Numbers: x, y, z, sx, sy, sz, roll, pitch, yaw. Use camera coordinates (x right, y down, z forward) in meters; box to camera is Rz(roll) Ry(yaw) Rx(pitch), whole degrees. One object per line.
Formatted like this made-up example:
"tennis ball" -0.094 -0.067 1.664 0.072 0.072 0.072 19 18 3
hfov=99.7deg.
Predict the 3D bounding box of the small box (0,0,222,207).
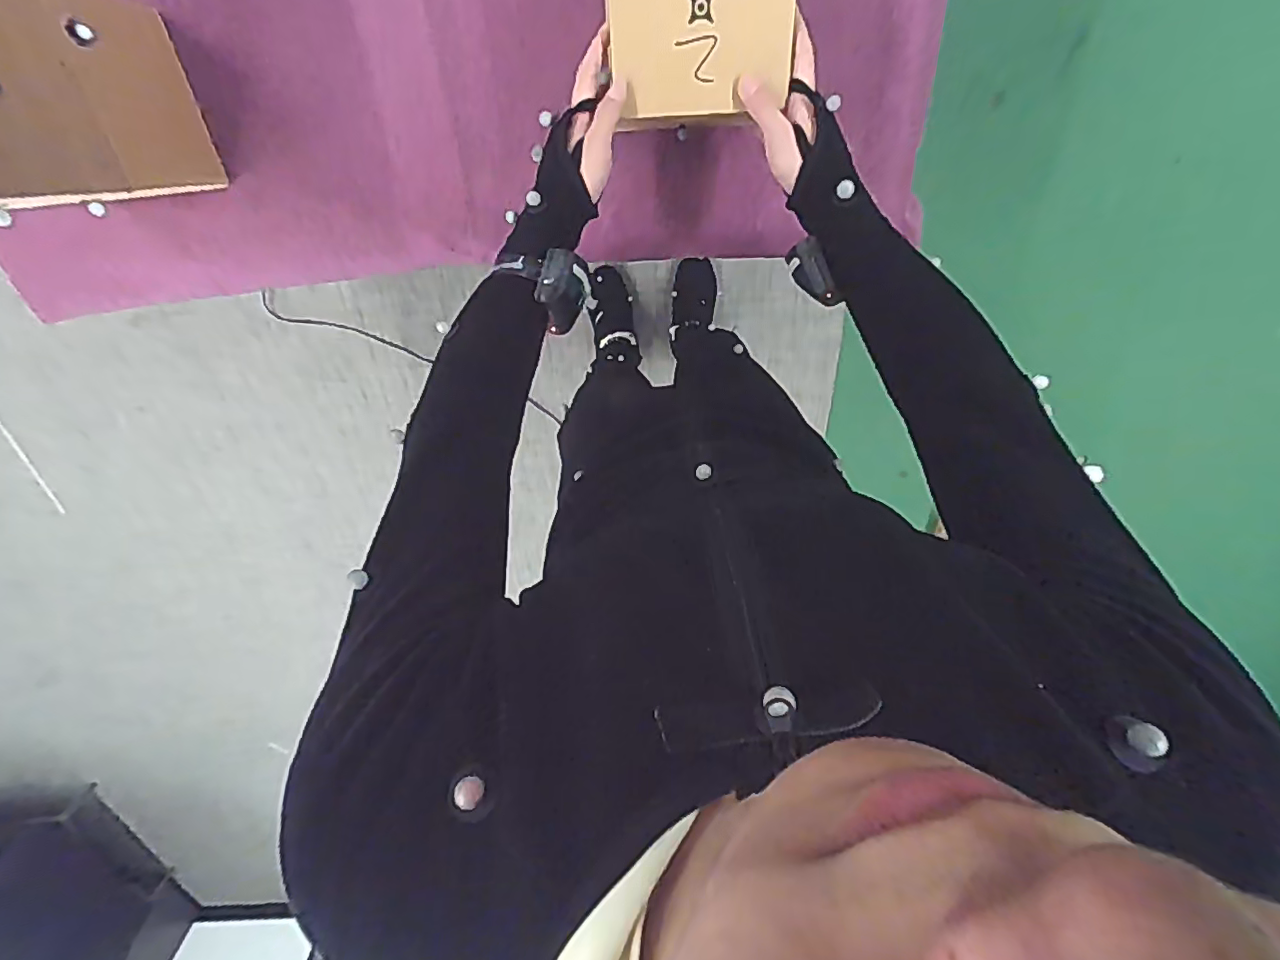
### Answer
"small box" -0.604 -0.399 0.574 0.168 0.176 0.179 -4 120 2

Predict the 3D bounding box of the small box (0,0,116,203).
"small box" -0.603 -0.318 0.431 0.168 0.176 0.179 -4 121 2
